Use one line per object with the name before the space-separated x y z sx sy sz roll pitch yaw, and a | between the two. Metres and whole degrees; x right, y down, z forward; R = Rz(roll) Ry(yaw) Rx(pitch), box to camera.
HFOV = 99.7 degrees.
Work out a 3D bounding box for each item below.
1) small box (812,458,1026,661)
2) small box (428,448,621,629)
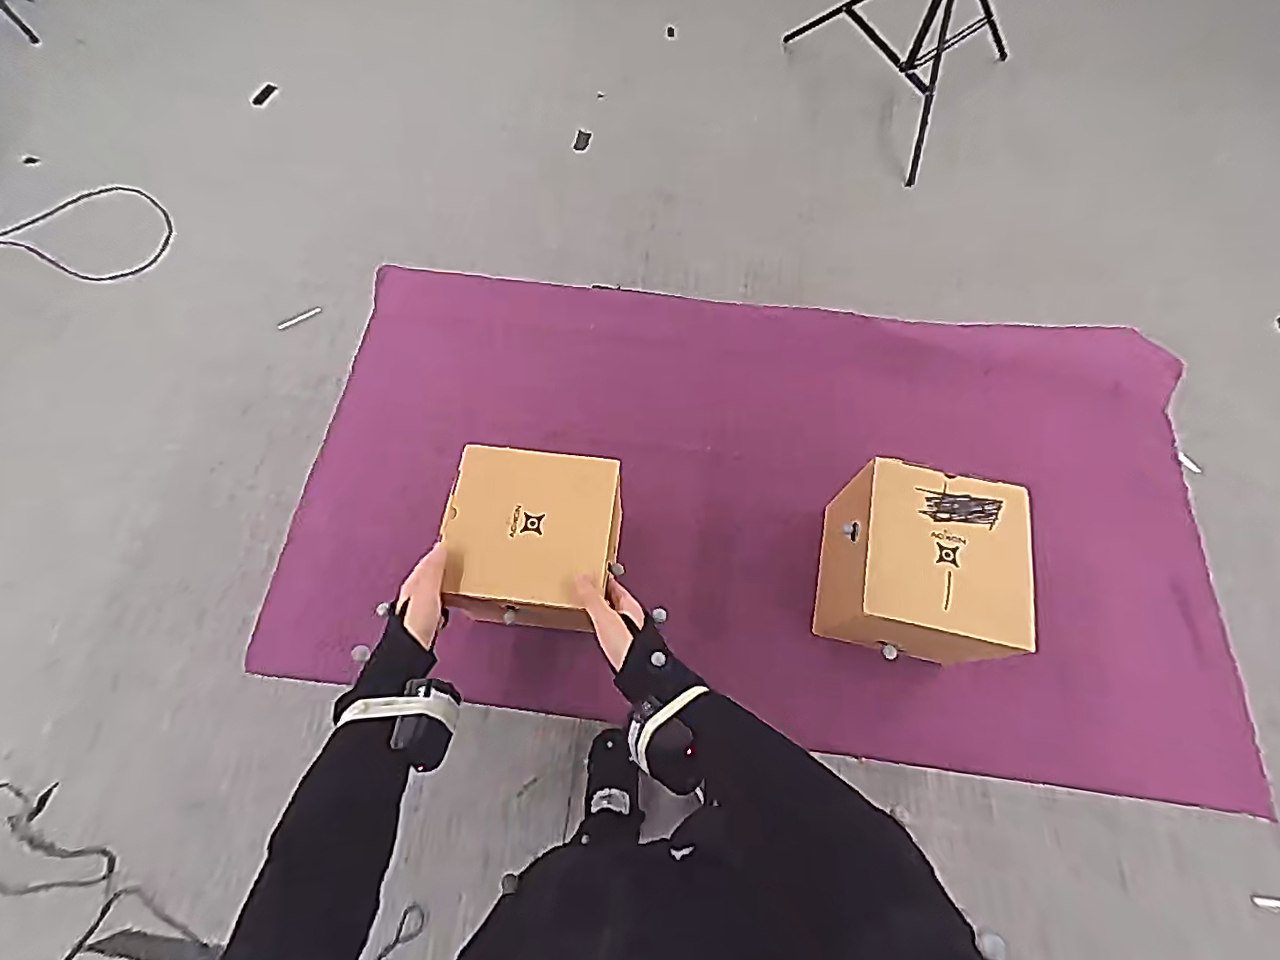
small box | 0.311 0.100 0.631 0.168 0.176 0.179 12 68 5
small box | -0.118 0.078 0.640 0.179 0.176 0.168 5 68 2
